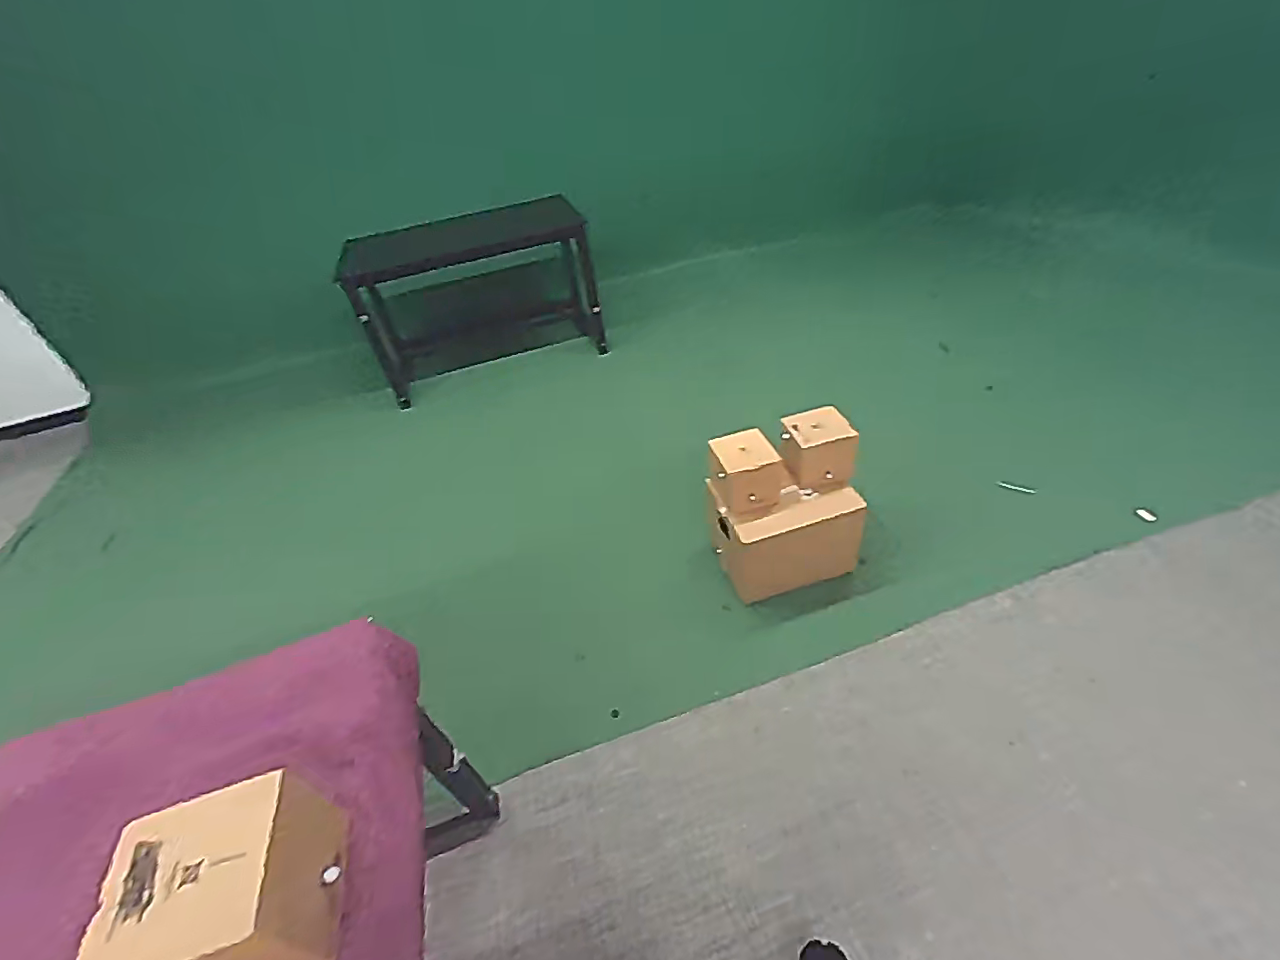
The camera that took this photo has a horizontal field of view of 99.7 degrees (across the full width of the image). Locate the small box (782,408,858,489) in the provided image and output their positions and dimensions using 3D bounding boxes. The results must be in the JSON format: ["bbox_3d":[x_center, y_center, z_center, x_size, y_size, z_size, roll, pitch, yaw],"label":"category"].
[{"bbox_3d":[0.554,-0.098,1.694,0.179,0.176,0.168,-13,40,-3],"label":"small box"}]

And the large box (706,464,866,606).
[{"bbox_3d":[0.465,0.159,1.794,0.408,0.320,0.320,-16,42,-8],"label":"large box"}]

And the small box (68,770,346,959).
[{"bbox_3d":[-0.470,0.472,0.614,0.179,0.176,0.168,-17,42,-8],"label":"small box"}]

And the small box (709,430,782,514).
[{"bbox_3d":[0.319,-0.024,1.660,0.168,0.176,0.179,-15,41,-8],"label":"small box"}]
